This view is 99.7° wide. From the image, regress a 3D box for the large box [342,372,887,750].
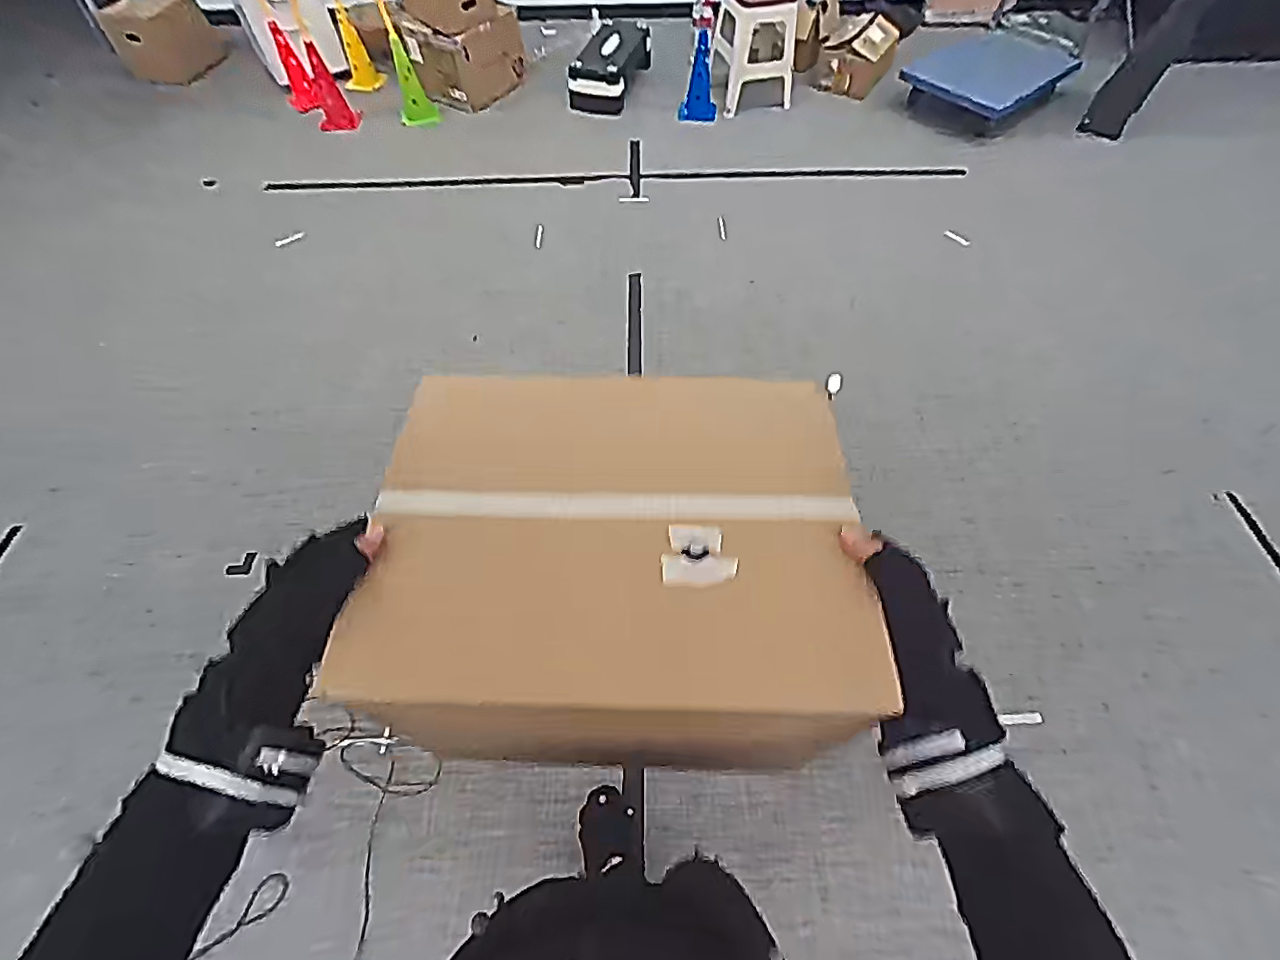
[{"bbox_3d":[-0.018,0.101,0.594,0.408,0.320,0.320,1,55,1],"label":"large box"}]
